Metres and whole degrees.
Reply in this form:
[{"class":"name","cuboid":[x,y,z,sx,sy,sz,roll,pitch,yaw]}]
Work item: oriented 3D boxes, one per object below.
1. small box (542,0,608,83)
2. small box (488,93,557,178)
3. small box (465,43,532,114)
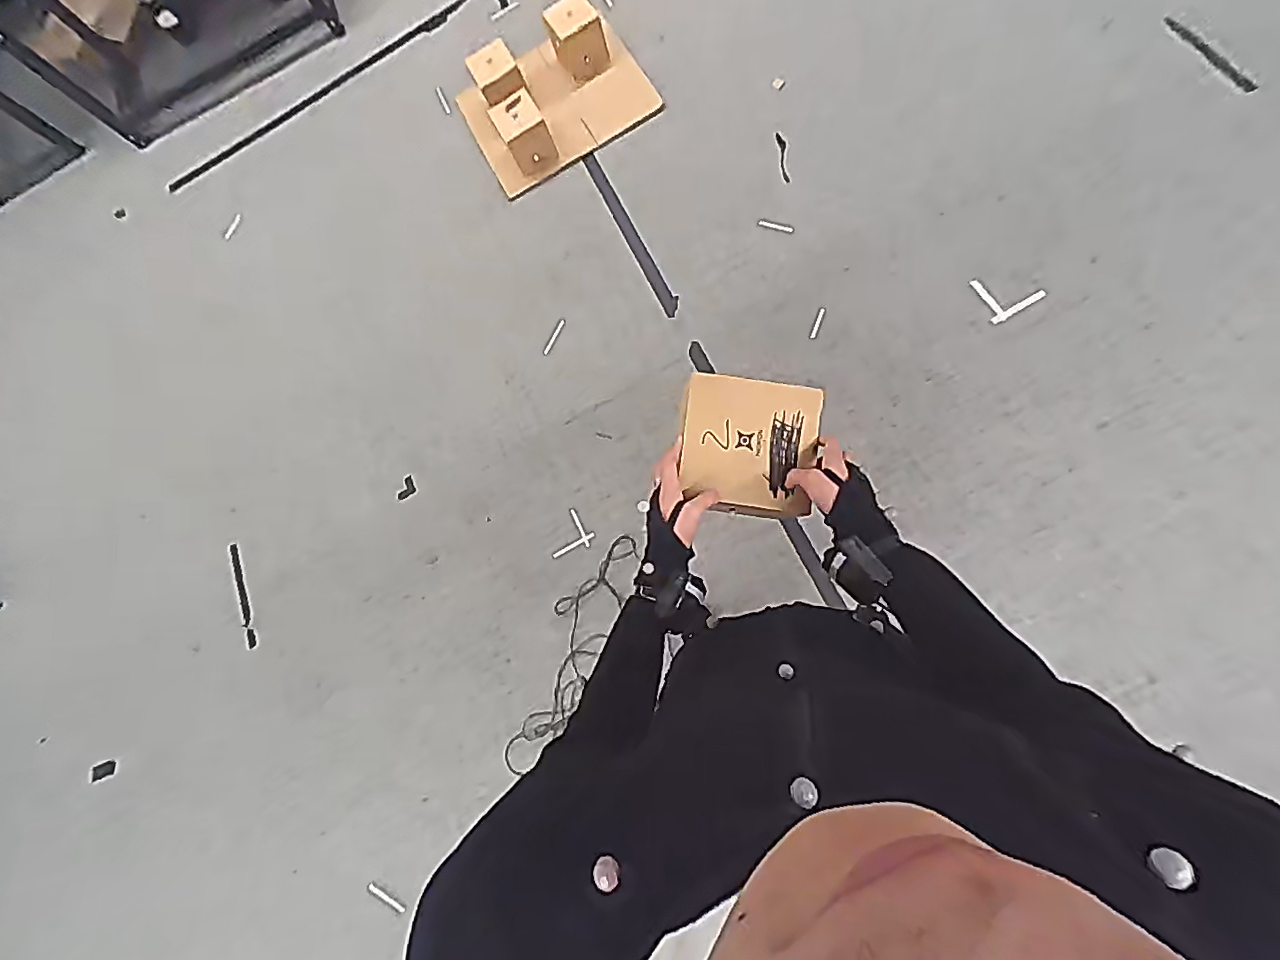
[{"class":"small box","cuboid":[-0.250,-1.712,2.109,0.168,0.176,0.179,-33,73,3]},{"class":"small box","cuboid":[-0.441,-1.299,2.049,0.168,0.176,0.179,-30,74,4]},{"class":"small box","cuboid":[-0.552,-1.549,2.128,0.168,0.176,0.179,-30,73,5]}]
